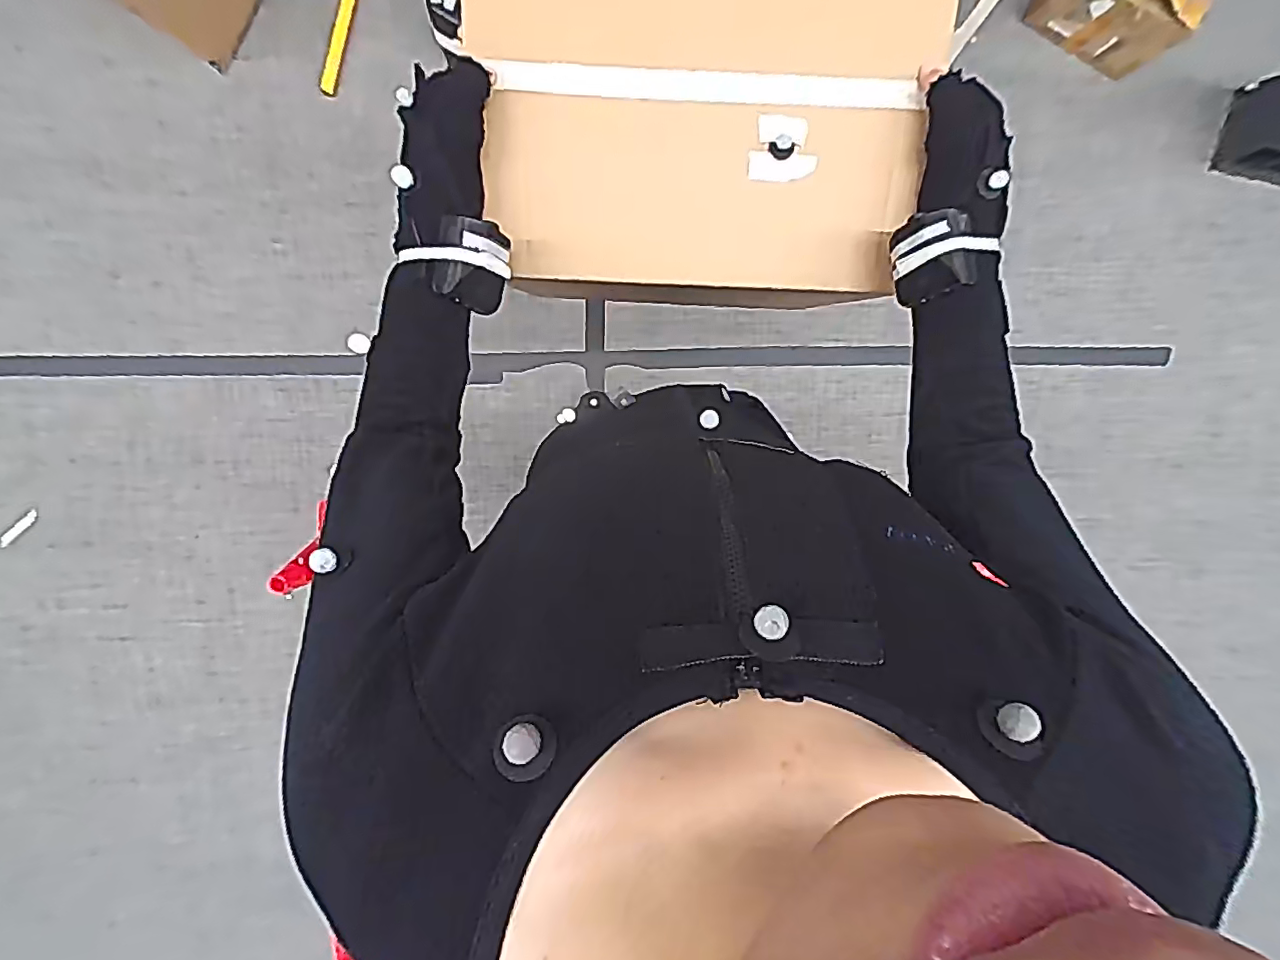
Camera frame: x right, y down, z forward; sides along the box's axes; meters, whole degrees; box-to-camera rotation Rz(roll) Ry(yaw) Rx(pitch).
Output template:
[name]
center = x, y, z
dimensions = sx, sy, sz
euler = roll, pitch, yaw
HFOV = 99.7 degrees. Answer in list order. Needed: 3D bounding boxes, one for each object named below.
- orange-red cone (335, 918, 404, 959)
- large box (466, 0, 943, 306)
[orange-red cone]
center = -0.825, 1.465, 1.497
dimensions = 0.198, 0.360, 0.199
euler = -3, 101, -2
[large box]
center = 0.047, -0.370, 0.606
dimensions = 0.408, 0.320, 0.320
euler = 2, 105, -3
